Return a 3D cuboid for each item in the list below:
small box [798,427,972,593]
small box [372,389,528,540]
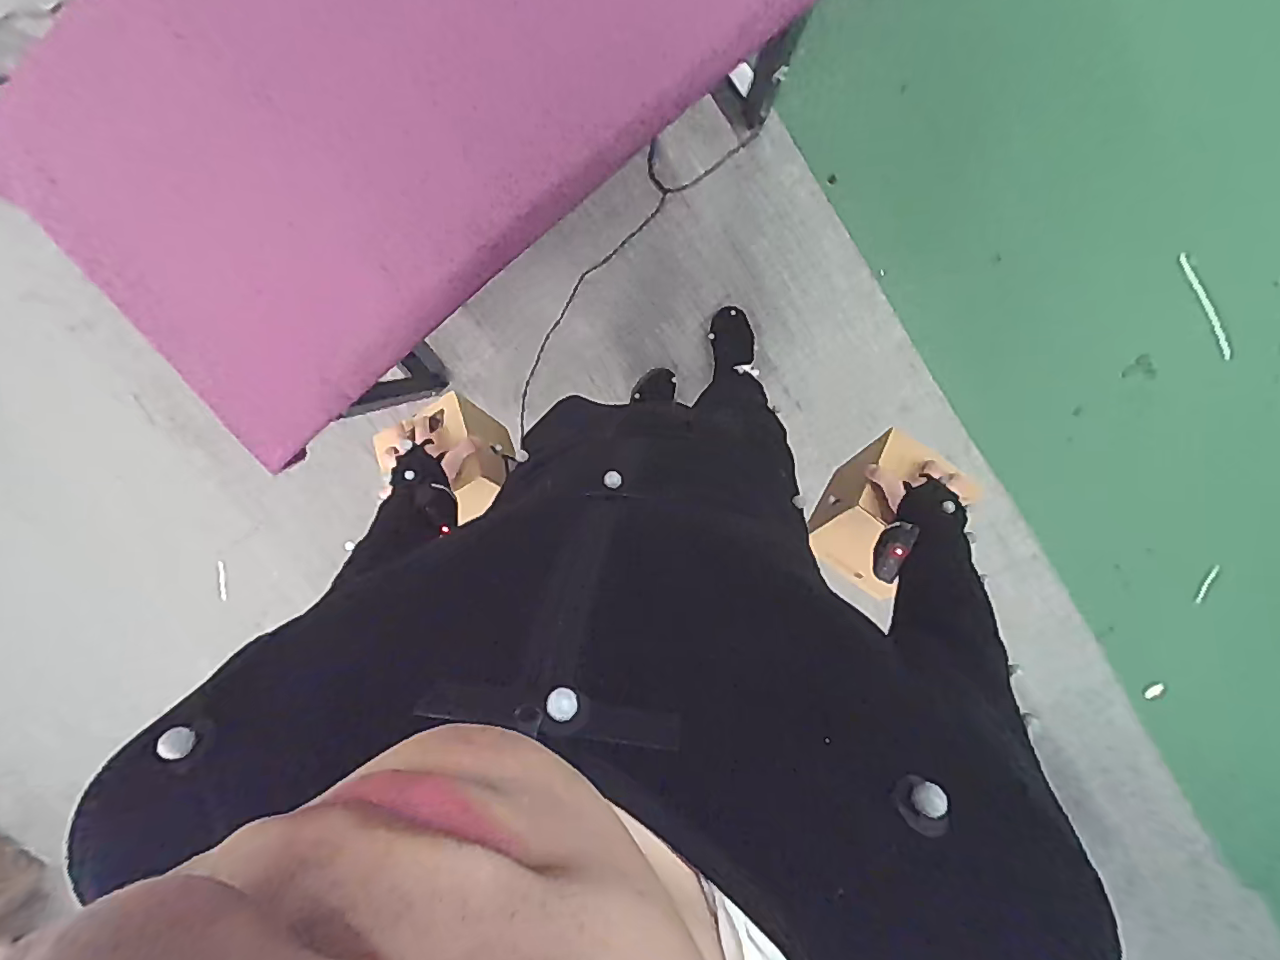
[{"bbox_3d":[0.381,0.056,0.865,0.168,0.176,0.179,37,61,2],"label":"small box"},{"bbox_3d":[-0.320,-0.018,0.927,0.168,0.176,0.179,-28,67,7],"label":"small box"}]
